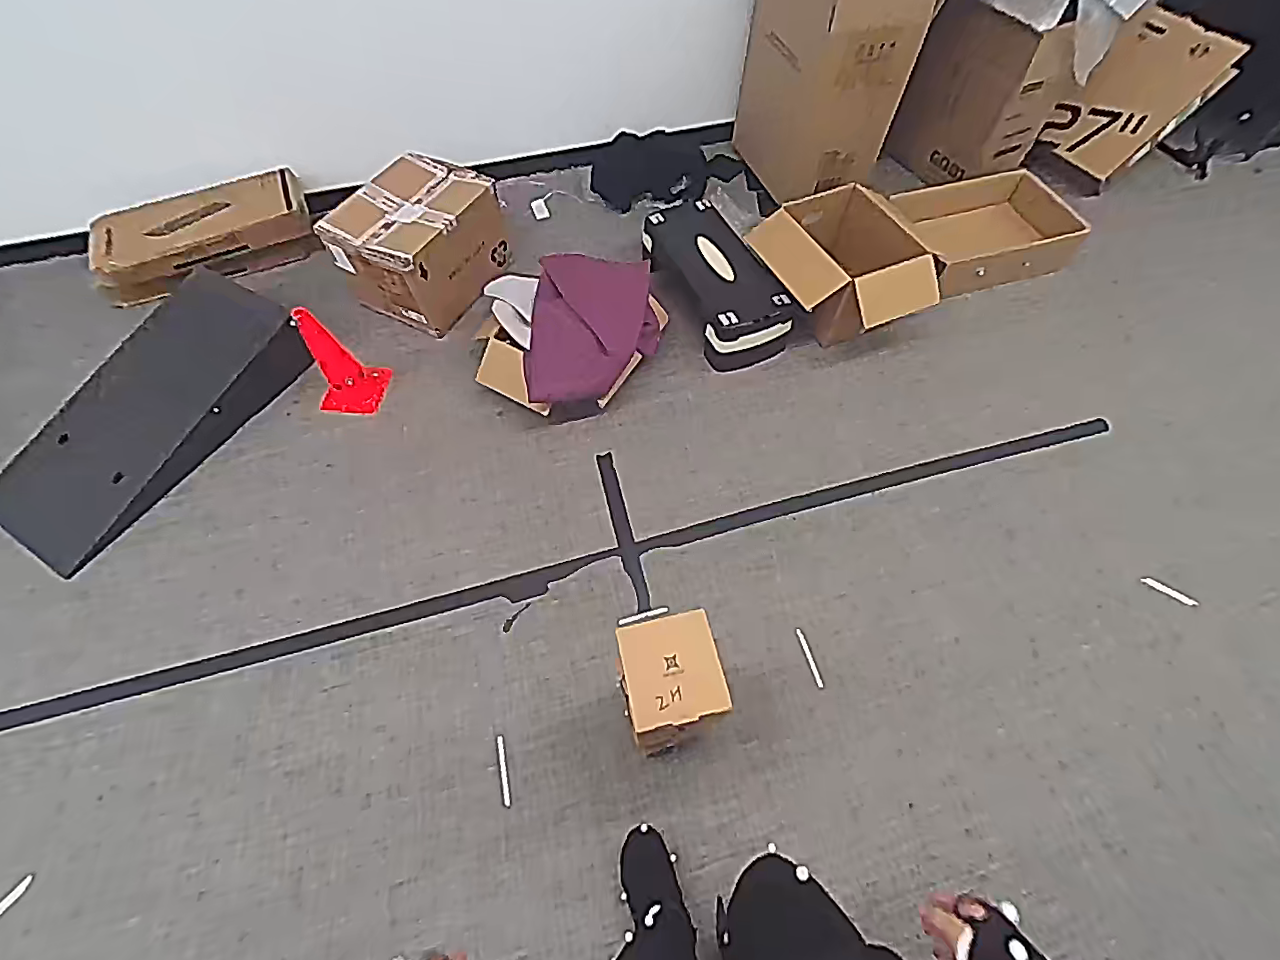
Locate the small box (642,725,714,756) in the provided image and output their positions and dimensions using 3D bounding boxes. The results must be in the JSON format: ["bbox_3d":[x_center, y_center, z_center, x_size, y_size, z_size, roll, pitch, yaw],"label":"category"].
[{"bbox_3d":[0.057,0.527,1.264,0.168,0.176,0.179,-19,63,-9],"label":"small box"}]

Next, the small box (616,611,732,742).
[{"bbox_3d":[0.054,0.359,0.980,0.168,0.176,0.179,-12,61,-5],"label":"small box"}]

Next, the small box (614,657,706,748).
[{"bbox_3d":[0.054,0.444,1.122,0.179,0.176,0.168,-14,61,-7],"label":"small box"}]
